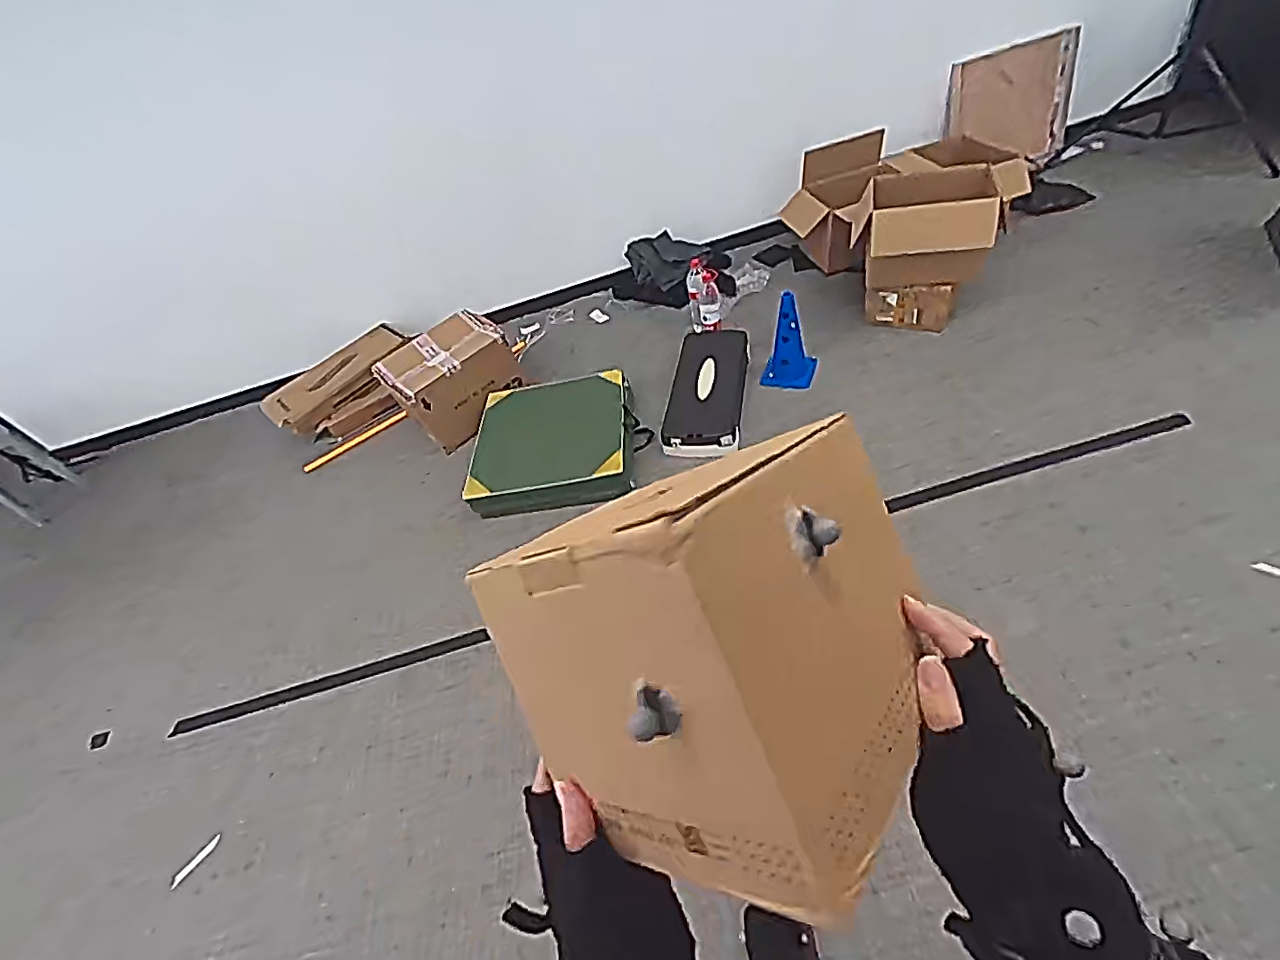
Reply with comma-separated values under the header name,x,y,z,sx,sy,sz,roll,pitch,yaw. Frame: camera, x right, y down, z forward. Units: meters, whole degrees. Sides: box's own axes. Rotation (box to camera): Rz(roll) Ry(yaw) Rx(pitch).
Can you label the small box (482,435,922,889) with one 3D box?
name,x,y,z,sx,sy,sz,roll,pitch,yaw
small box,0.044,0.093,0.327,0.168,0.176,0.179,-21,1,43
